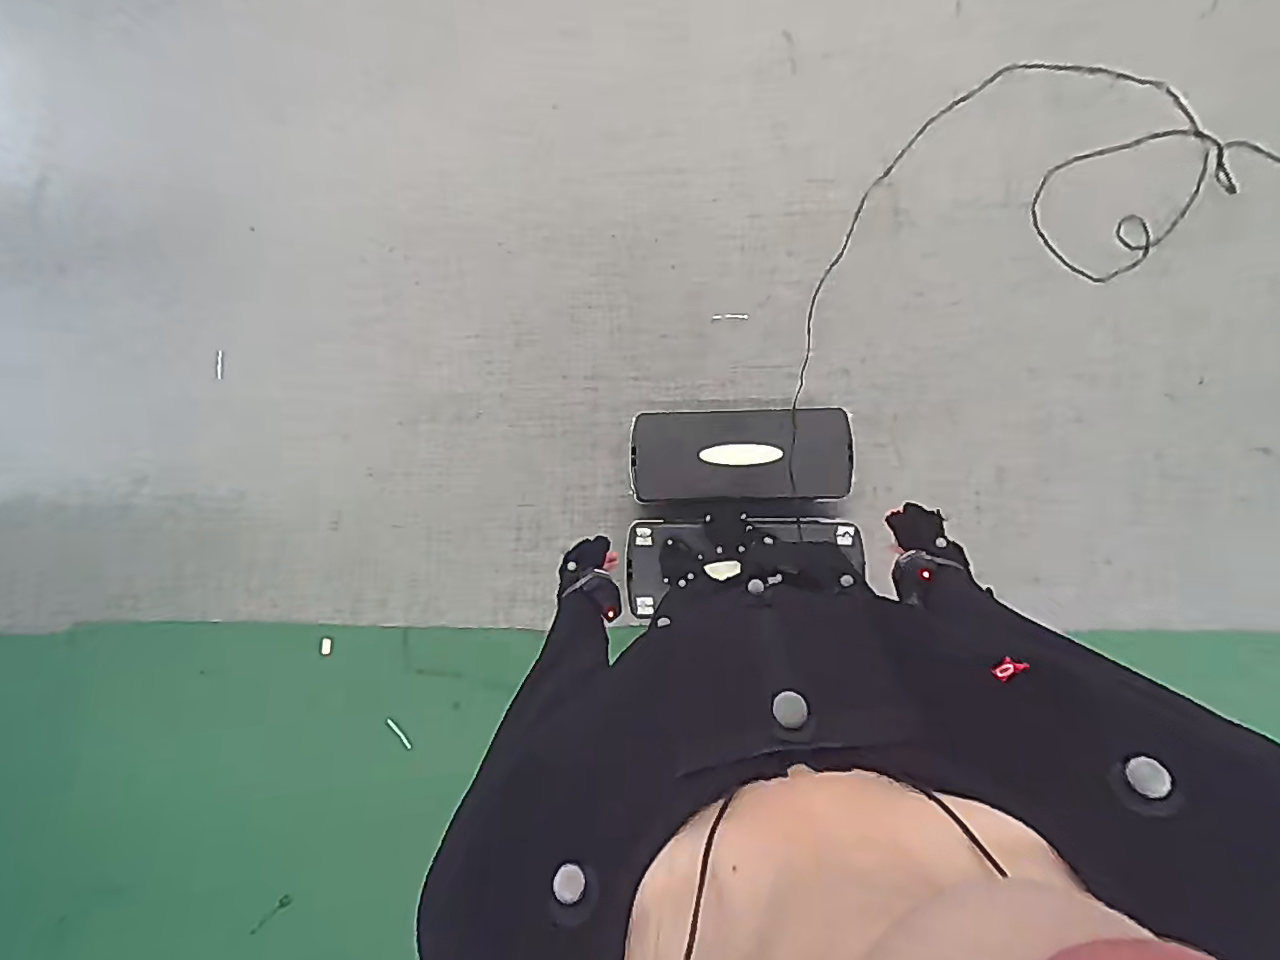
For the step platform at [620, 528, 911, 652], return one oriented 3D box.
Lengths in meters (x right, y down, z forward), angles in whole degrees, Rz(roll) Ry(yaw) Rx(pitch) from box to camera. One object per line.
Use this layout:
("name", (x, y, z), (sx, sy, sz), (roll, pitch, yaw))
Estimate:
("step platform", (0.297, 0.270, 1.375), (0.684, 0.204, 0.286), (-1, 85, 3))
